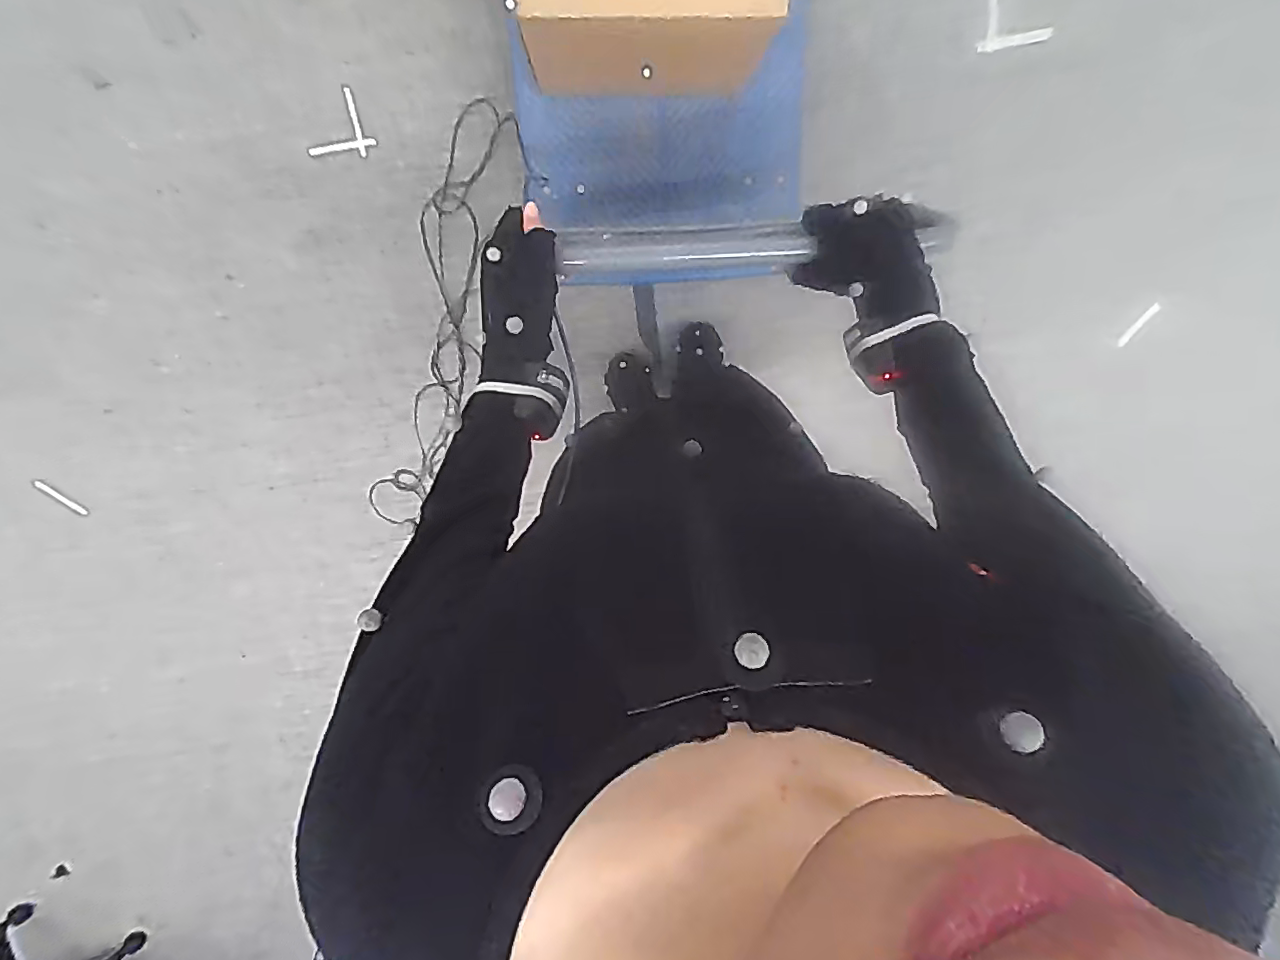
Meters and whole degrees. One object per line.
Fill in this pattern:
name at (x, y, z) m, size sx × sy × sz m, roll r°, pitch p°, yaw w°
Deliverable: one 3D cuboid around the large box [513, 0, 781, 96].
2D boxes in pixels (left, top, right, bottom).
large box at (0.004, -0.874, 0.901) m, size 0.408 × 0.320 × 0.320 m, roll -2°, pitch 107°, yaw -1°
